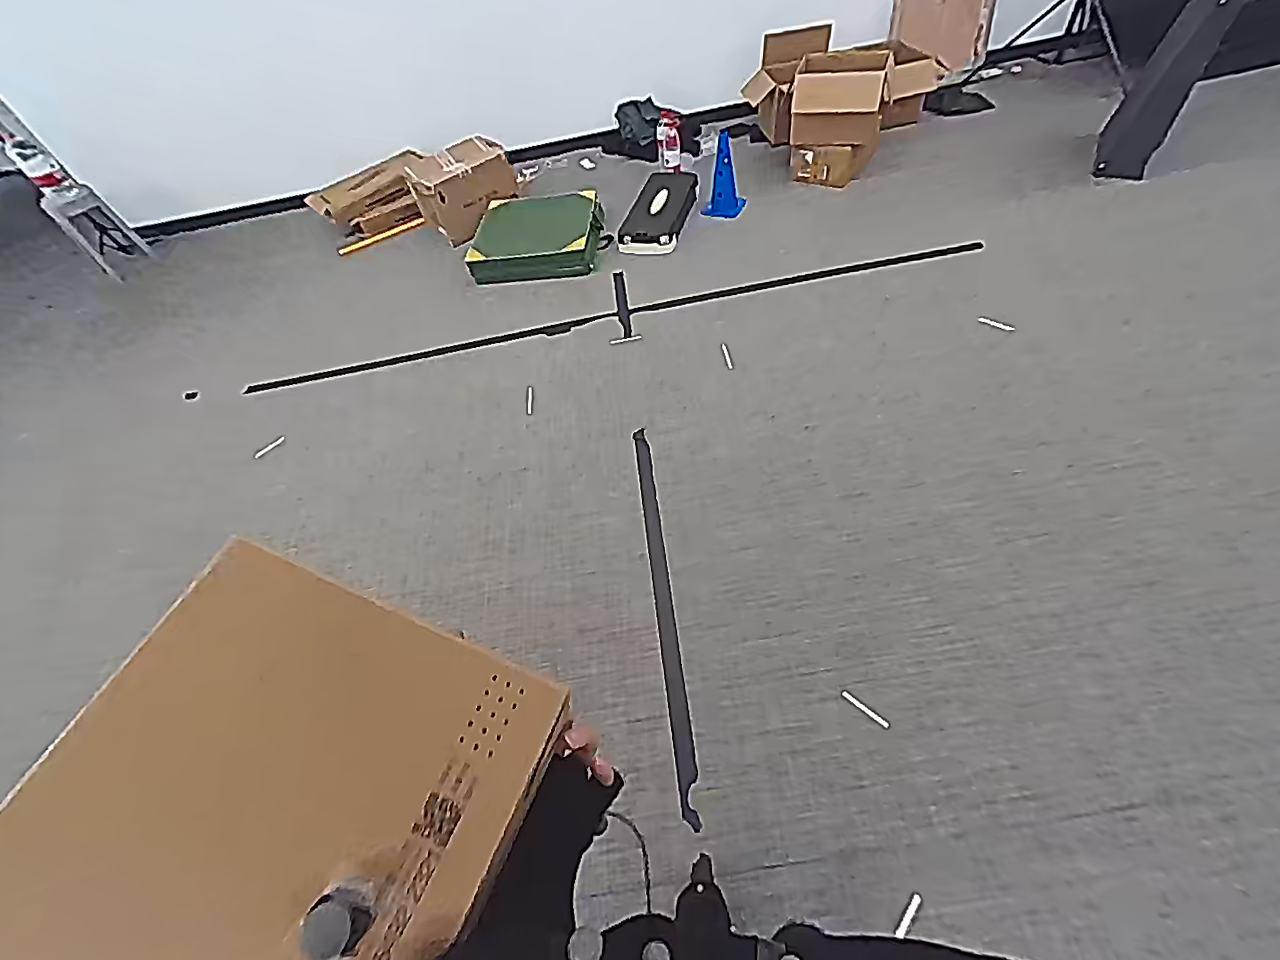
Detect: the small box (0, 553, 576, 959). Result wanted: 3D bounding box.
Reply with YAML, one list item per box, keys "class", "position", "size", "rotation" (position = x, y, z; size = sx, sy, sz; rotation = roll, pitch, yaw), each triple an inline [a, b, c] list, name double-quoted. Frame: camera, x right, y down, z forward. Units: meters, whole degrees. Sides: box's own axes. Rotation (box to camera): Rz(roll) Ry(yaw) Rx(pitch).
- class: "small box"
  position: [-0.142, 0.168, 0.289]
  size: [0.176, 0.179, 0.168]
  rotation: [23, 64, 5]
